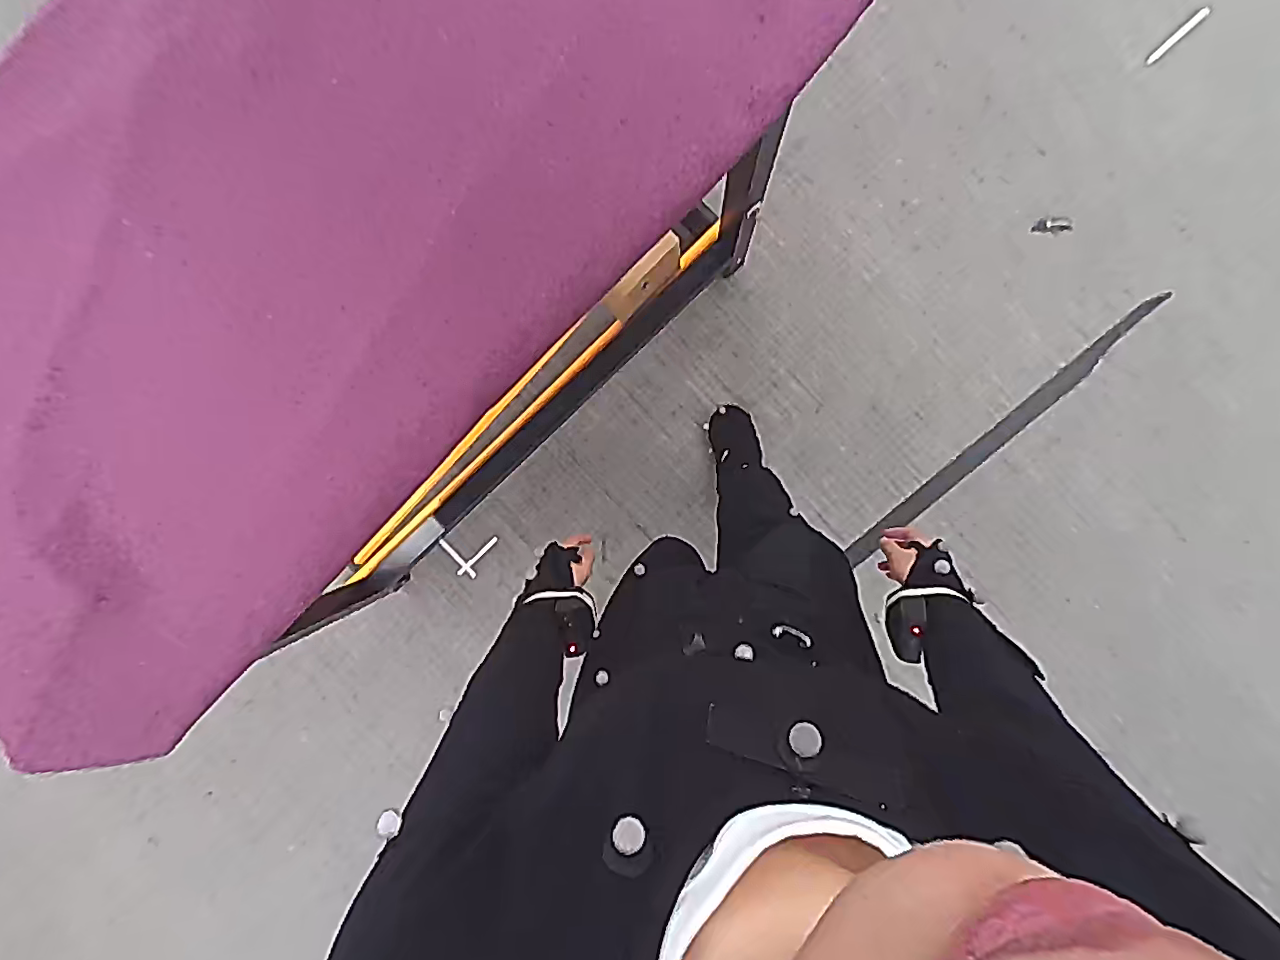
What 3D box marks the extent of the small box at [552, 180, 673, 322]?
[{"bbox_3d":[-0.045,-0.446,1.090,0.179,0.176,0.168,-44,91,6],"label":"small box"}]
